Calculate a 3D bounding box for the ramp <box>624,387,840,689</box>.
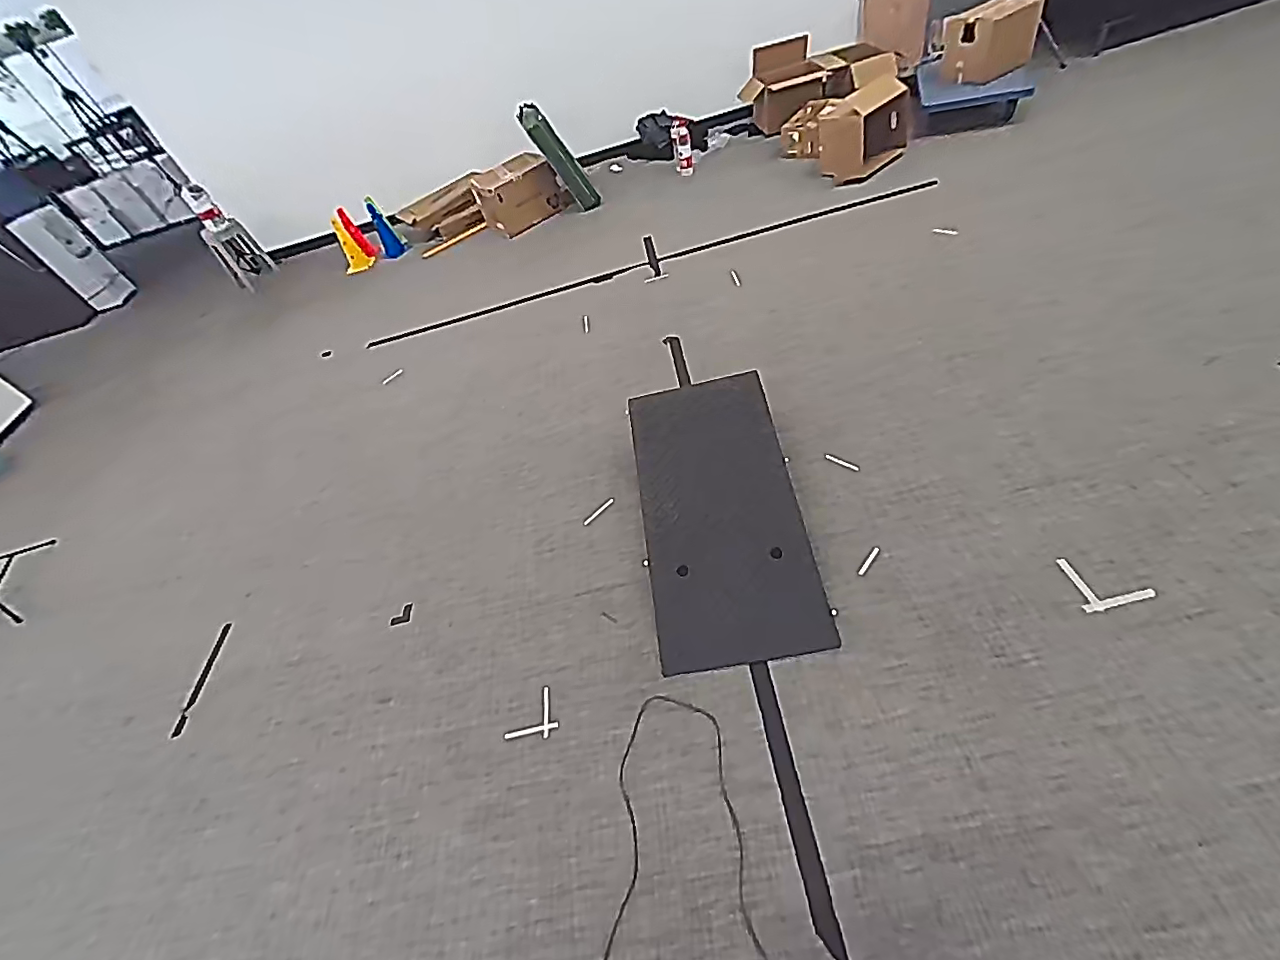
[{"bbox_3d":[0.245,0.121,1.752,0.509,0.206,0.991,-14,46,4],"label":"ramp"}]
